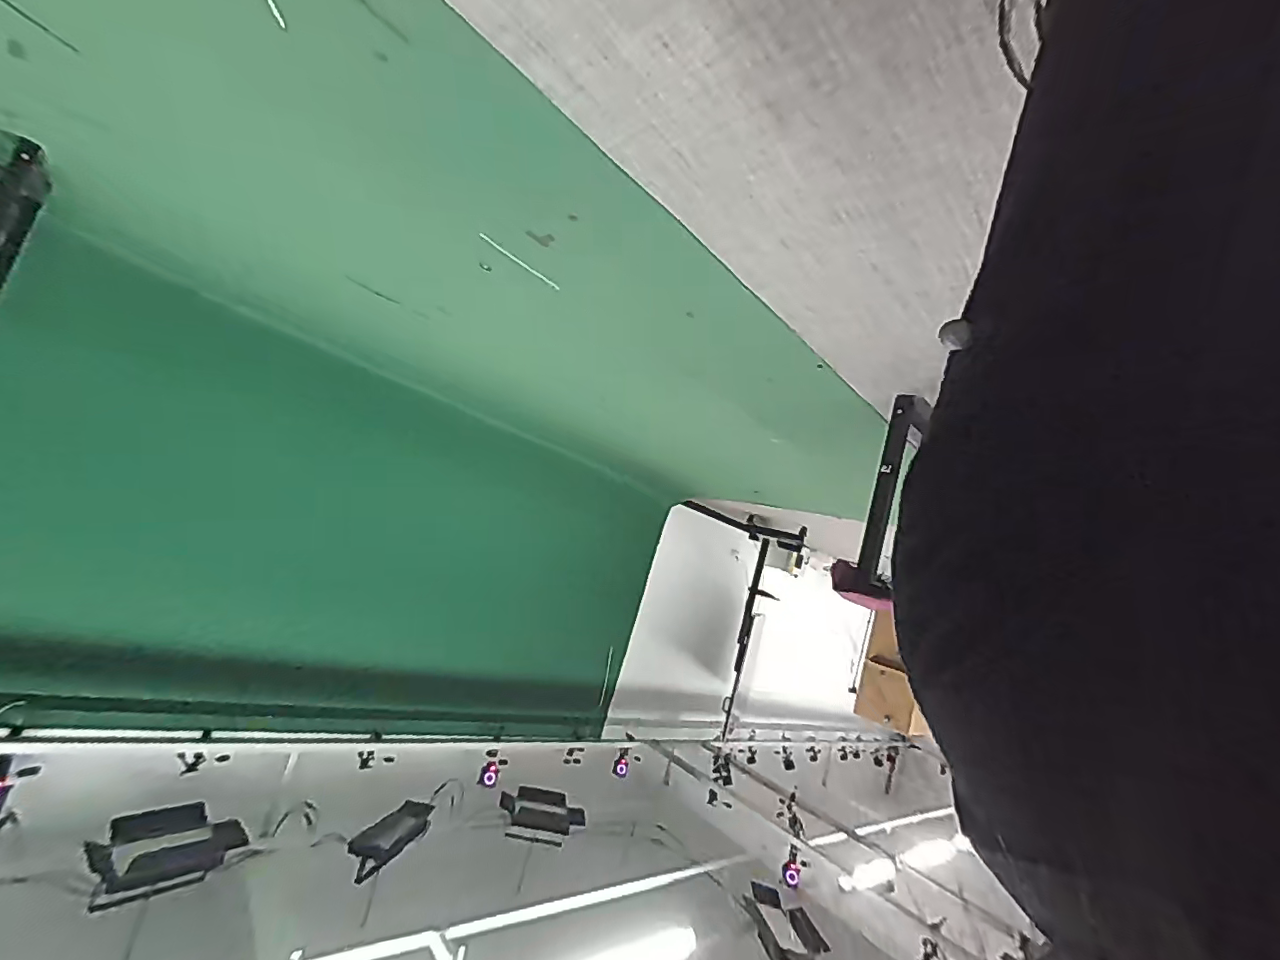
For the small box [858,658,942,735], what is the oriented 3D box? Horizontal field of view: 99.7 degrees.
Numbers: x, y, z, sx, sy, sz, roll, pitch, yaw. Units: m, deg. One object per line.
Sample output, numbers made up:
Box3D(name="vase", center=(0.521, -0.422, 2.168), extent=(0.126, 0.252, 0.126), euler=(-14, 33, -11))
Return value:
Box3D(name="small box", center=(0.793, 0.652, 1.640), extent=(0.179, 0.176, 0.168), euler=(24, 168, -42))
